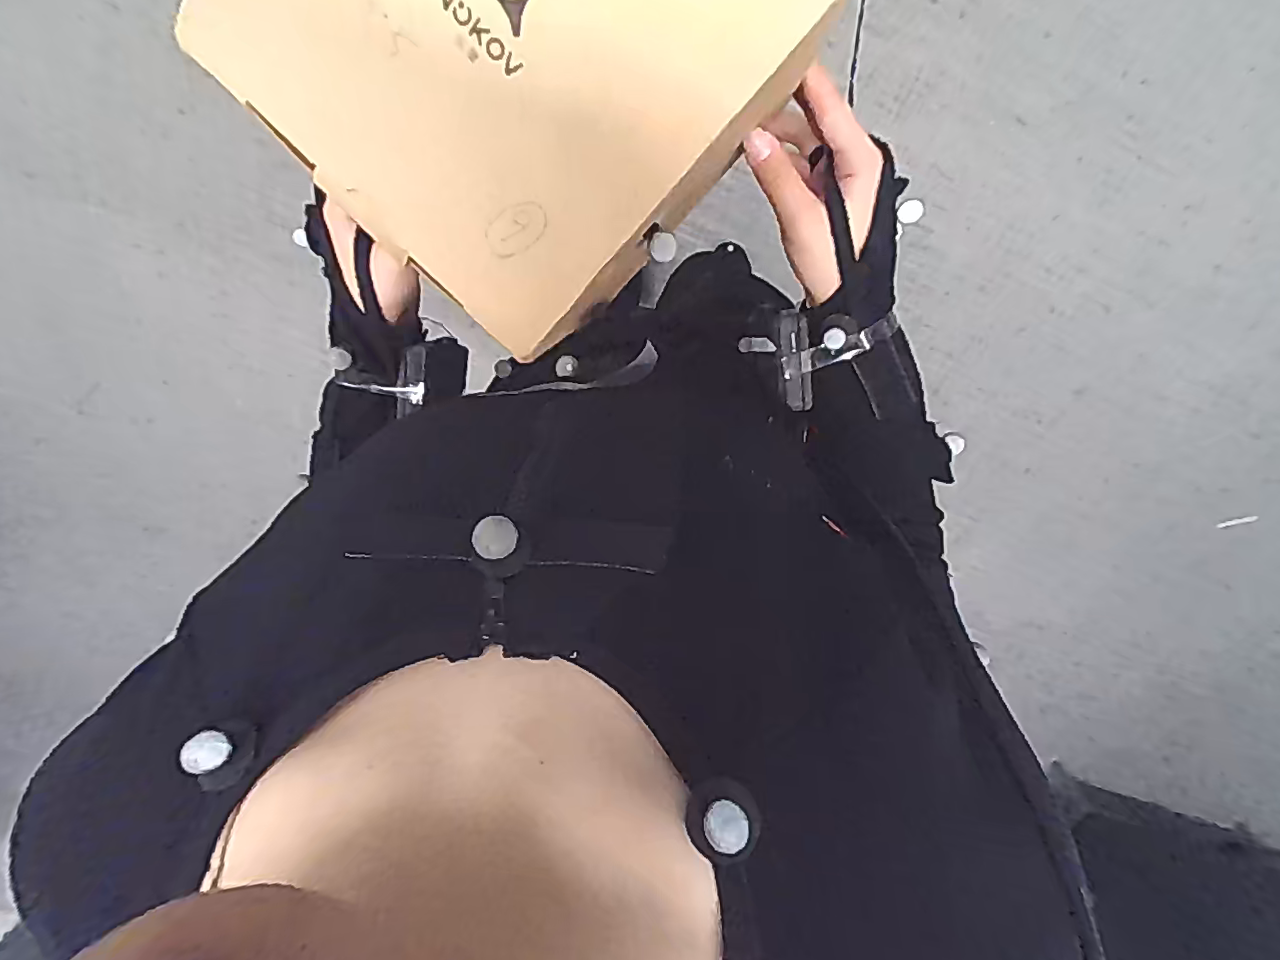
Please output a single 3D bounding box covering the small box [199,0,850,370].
[{"bbox_3d":[-0.037,-0.183,0.257,0.168,0.176,0.179,44,110,-12],"label":"small box"}]
